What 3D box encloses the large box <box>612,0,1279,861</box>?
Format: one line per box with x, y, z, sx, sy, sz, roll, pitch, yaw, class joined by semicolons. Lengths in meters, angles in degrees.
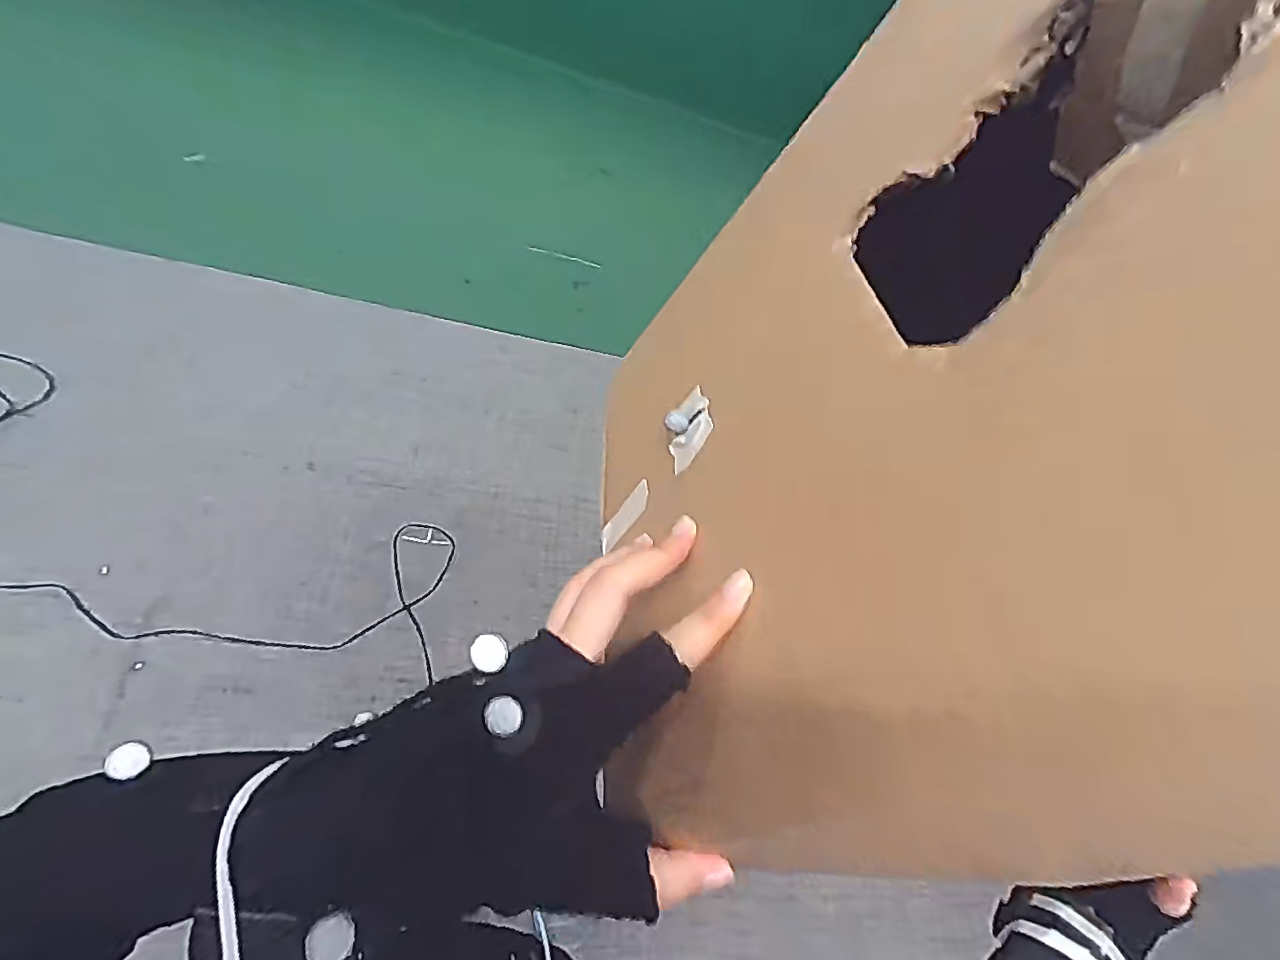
0.230;0.022;0.327;0.408;0.320;0.320;23;43;-27;large box
